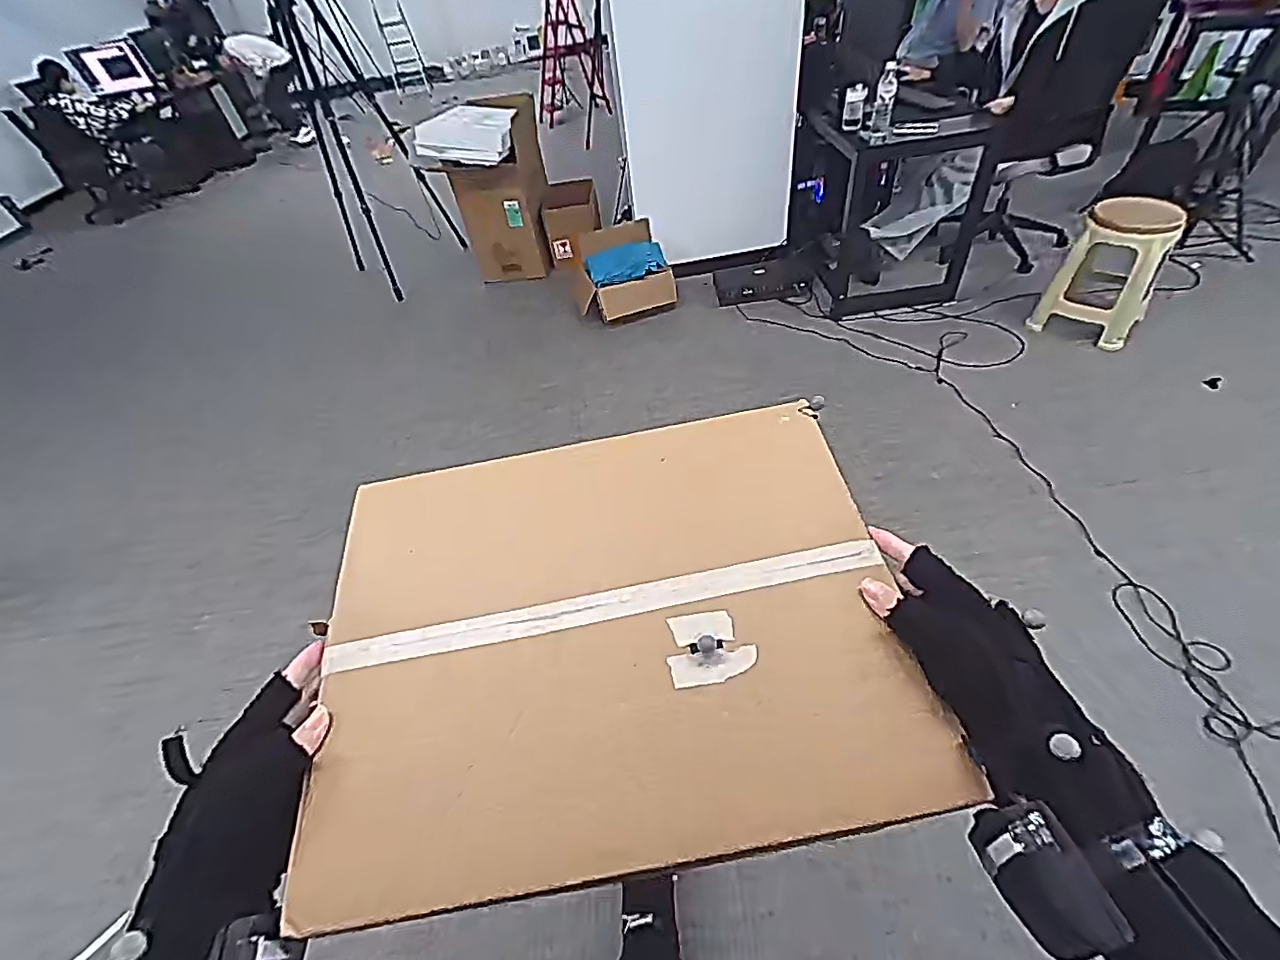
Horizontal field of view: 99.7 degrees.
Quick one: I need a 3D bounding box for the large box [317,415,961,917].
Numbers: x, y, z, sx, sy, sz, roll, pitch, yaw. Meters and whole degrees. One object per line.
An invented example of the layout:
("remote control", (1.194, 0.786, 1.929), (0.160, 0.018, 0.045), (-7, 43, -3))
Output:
("large box", (-0.010, 0.183, 0.528), (0.408, 0.320, 0.320), (-10, 55, -1))
